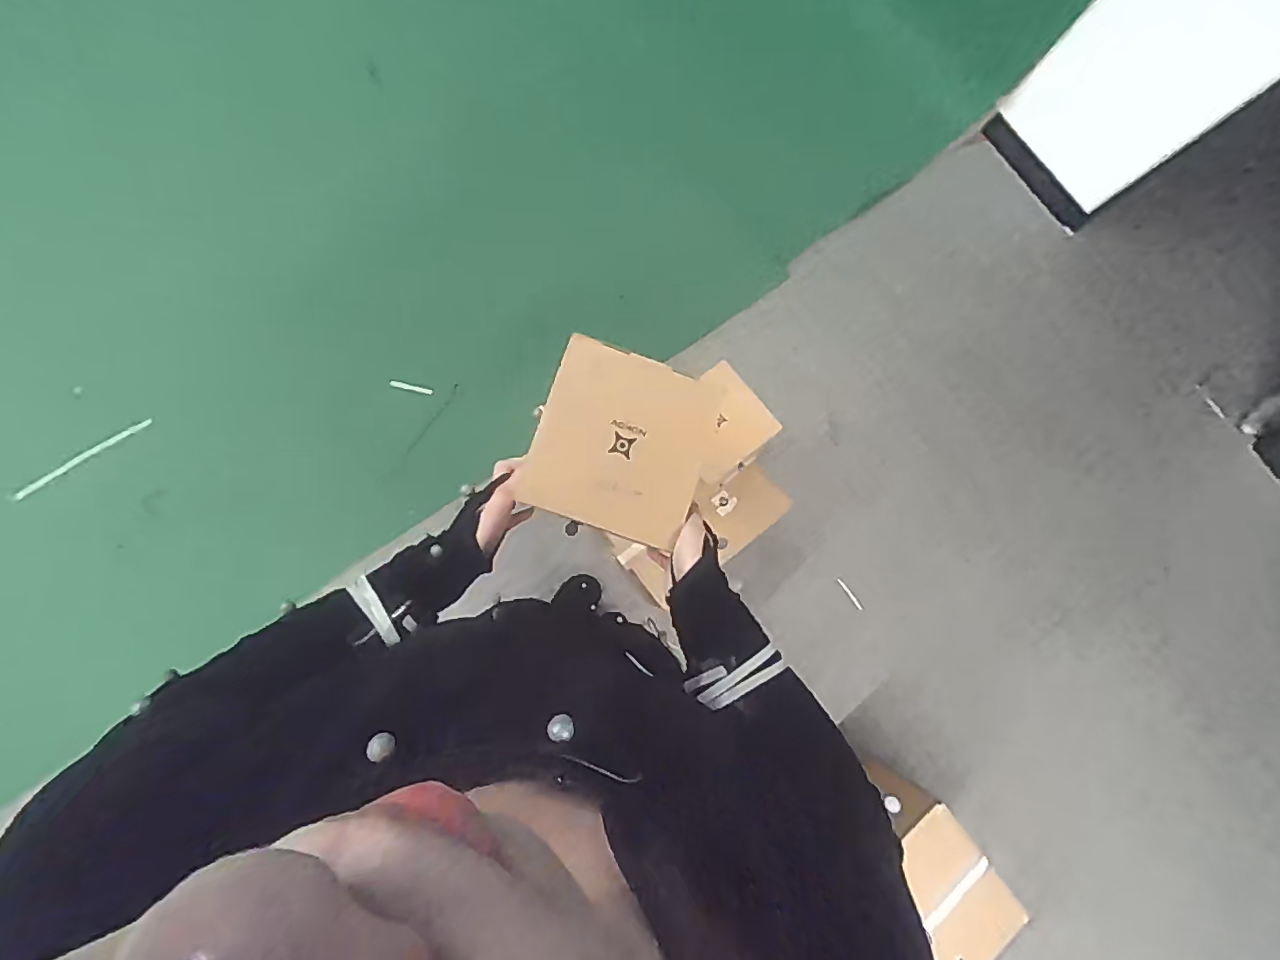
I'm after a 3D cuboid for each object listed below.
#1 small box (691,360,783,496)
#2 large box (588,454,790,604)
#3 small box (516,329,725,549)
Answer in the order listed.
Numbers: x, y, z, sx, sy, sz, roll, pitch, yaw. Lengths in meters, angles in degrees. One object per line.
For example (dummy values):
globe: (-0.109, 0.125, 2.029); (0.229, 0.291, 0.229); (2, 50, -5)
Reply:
small box: (0.135, -0.091, 1.033); (0.179, 0.176, 0.168); (-37, 83, -9)
large box: (0.102, 0.077, 1.417); (0.408, 0.320, 0.320); (-37, 86, -11)
small box: (-0.027, -0.035, 0.605); (0.168, 0.176, 0.179); (19, 84, -5)
